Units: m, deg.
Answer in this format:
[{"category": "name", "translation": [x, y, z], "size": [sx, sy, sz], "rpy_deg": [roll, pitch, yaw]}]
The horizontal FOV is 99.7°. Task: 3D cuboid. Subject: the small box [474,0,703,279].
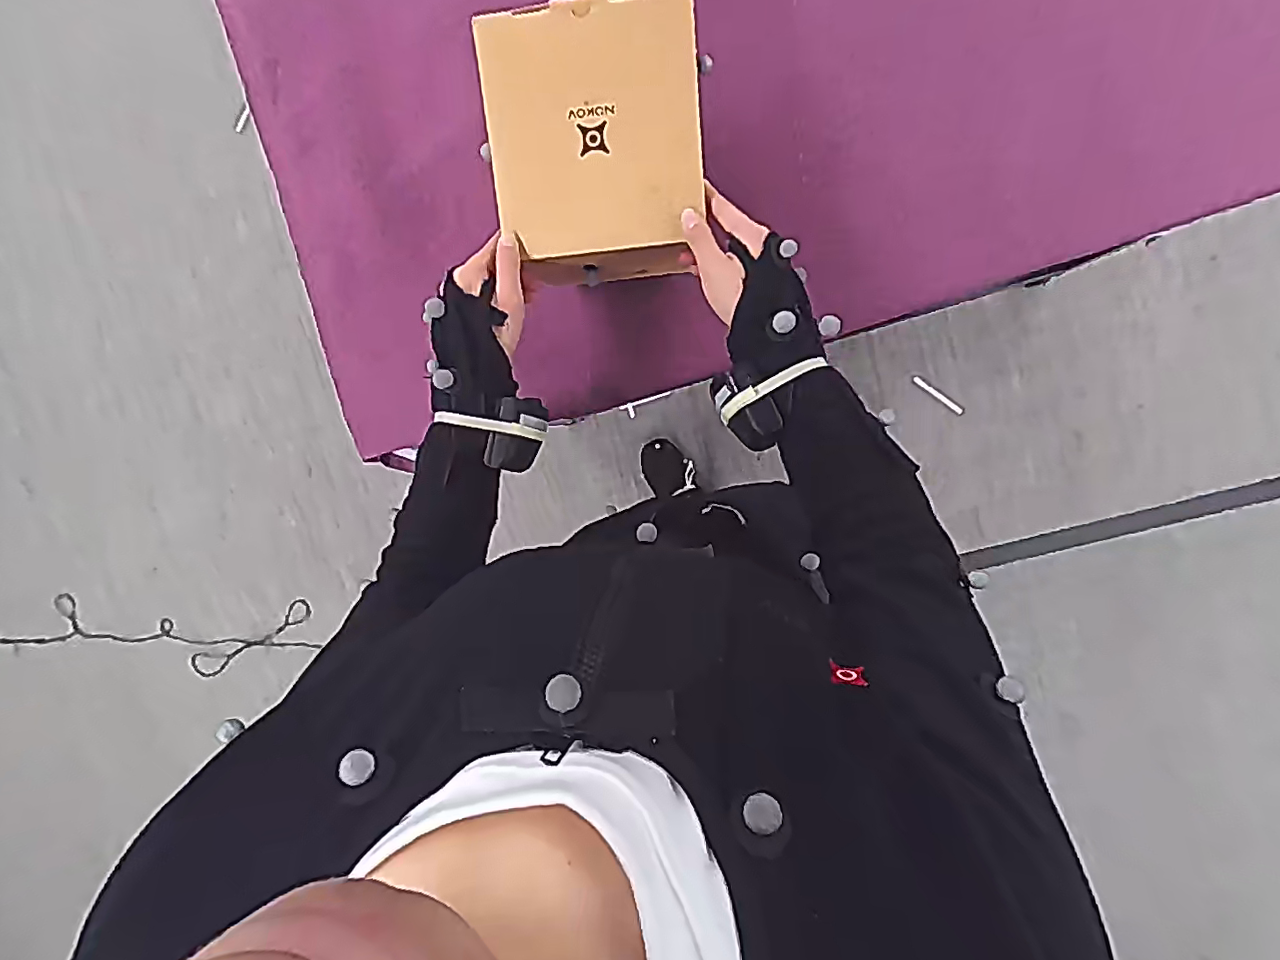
[{"category": "small box", "translation": [-0.031, -0.286, 0.489], "size": [0.168, 0.176, 0.179], "rpy_deg": [-4, 101, 5]}]
